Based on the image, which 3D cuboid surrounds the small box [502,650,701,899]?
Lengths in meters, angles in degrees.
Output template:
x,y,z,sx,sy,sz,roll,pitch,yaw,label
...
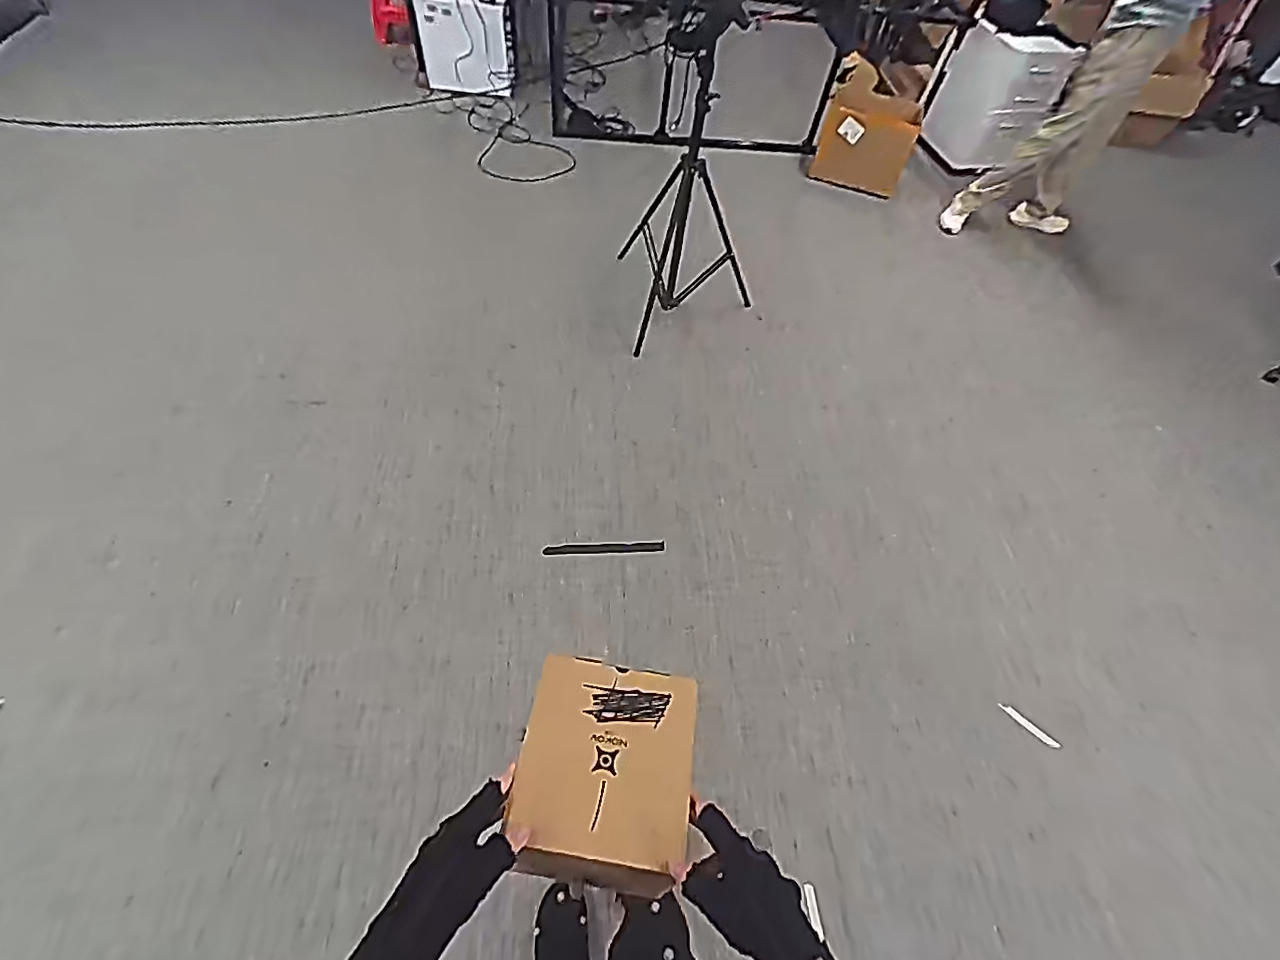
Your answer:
x,y,z,sx,sy,sz,roll,pitch,yaw,label
-0.037,0.310,0.570,0.168,0.176,0.179,10,46,1,small box
